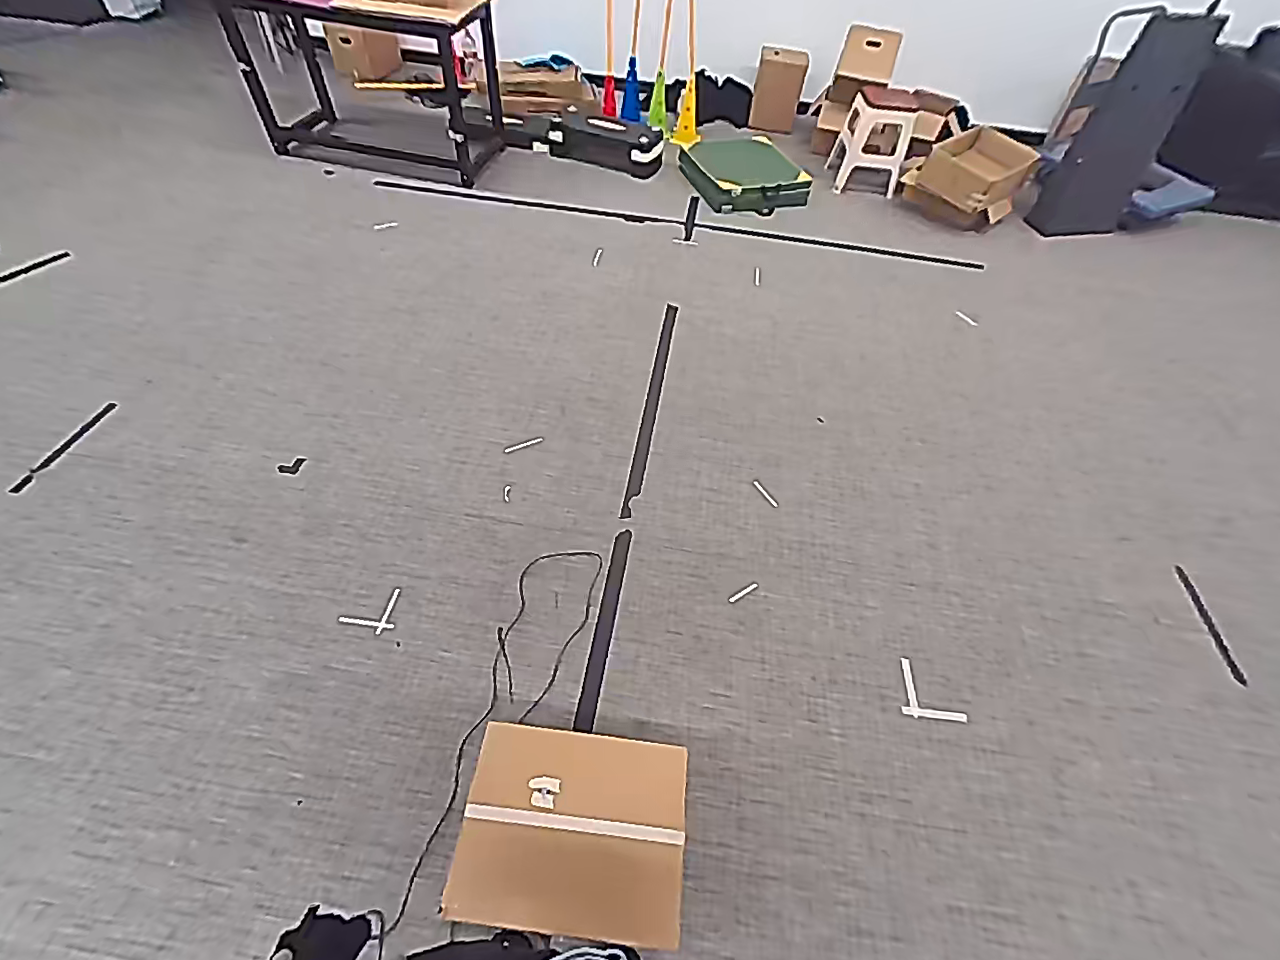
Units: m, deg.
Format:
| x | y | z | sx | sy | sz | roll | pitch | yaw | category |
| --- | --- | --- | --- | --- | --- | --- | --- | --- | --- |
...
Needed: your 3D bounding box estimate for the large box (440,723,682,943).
| x | y | z | sx | sy | sz | roll | pitch | yaw | category |
| --- | --- | --- | --- | --- | --- | --- | --- | --- | --- |
| -0.133 | 0.720 | 1.112 | 0.408 | 0.320 | 0.320 | 7 | 52 | 1 | large box |
